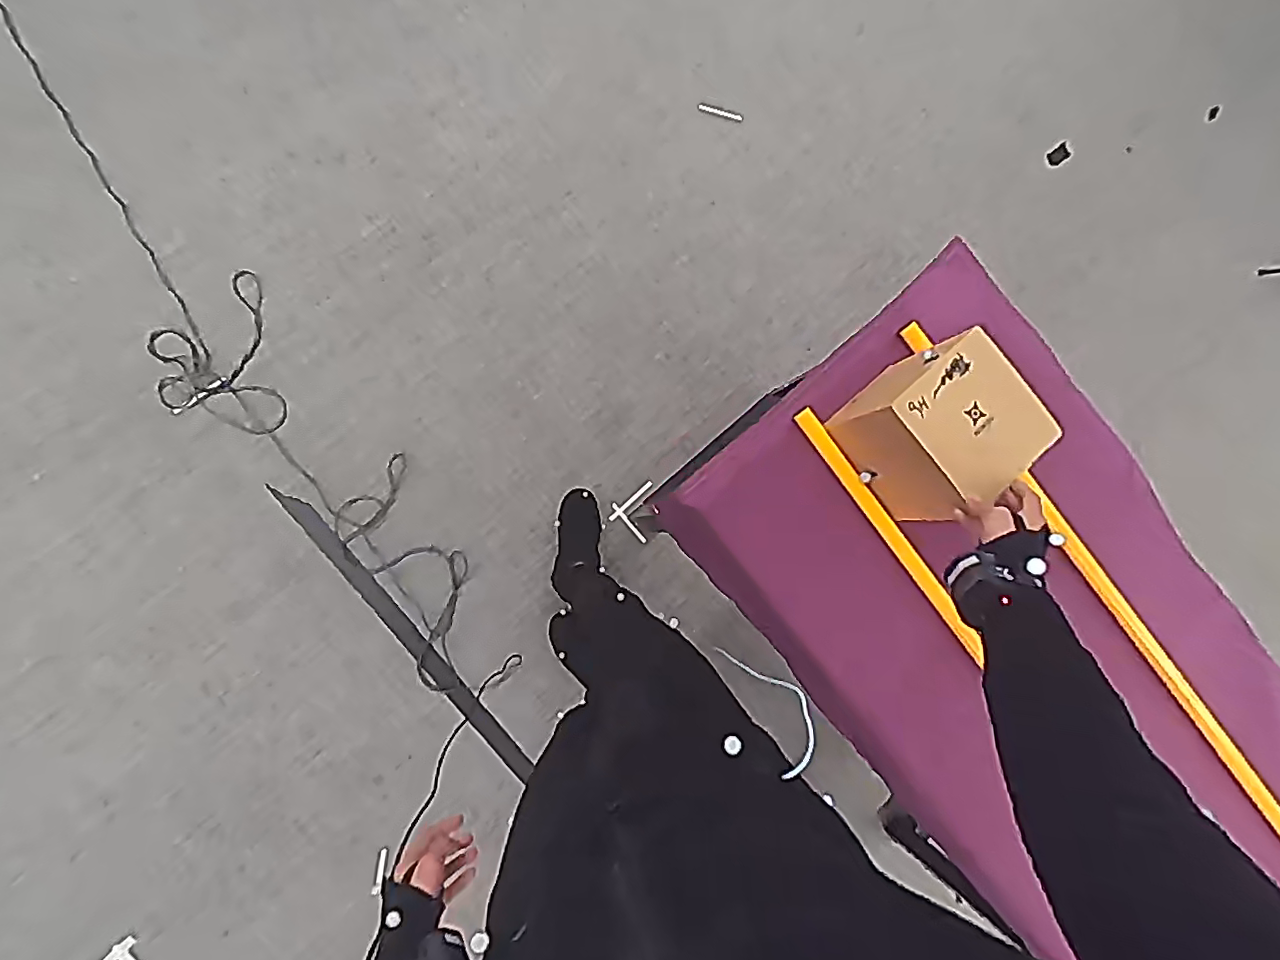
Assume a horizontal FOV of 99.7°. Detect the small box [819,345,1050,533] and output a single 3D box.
[{"bbox_3d":[0.385,-0.048,0.734,0.168,0.176,0.179,-39,94,-11],"label":"small box"}]
